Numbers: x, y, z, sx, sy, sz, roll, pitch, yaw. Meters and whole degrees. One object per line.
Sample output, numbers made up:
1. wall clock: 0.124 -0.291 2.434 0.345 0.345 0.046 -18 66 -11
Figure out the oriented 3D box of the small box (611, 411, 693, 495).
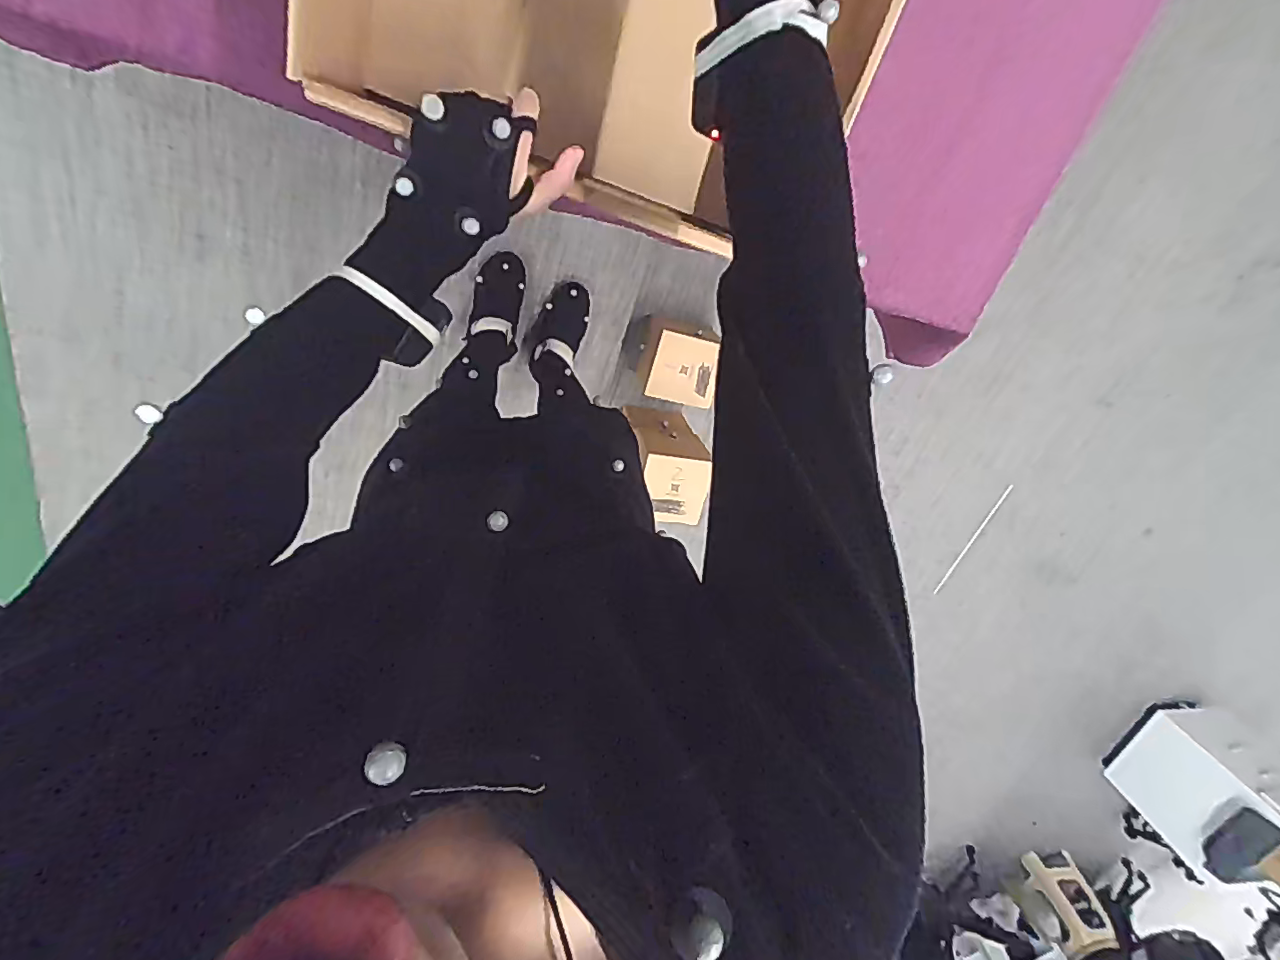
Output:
1. small box: 0.024 -0.080 1.480 0.179 0.176 0.168 7 116 -14
